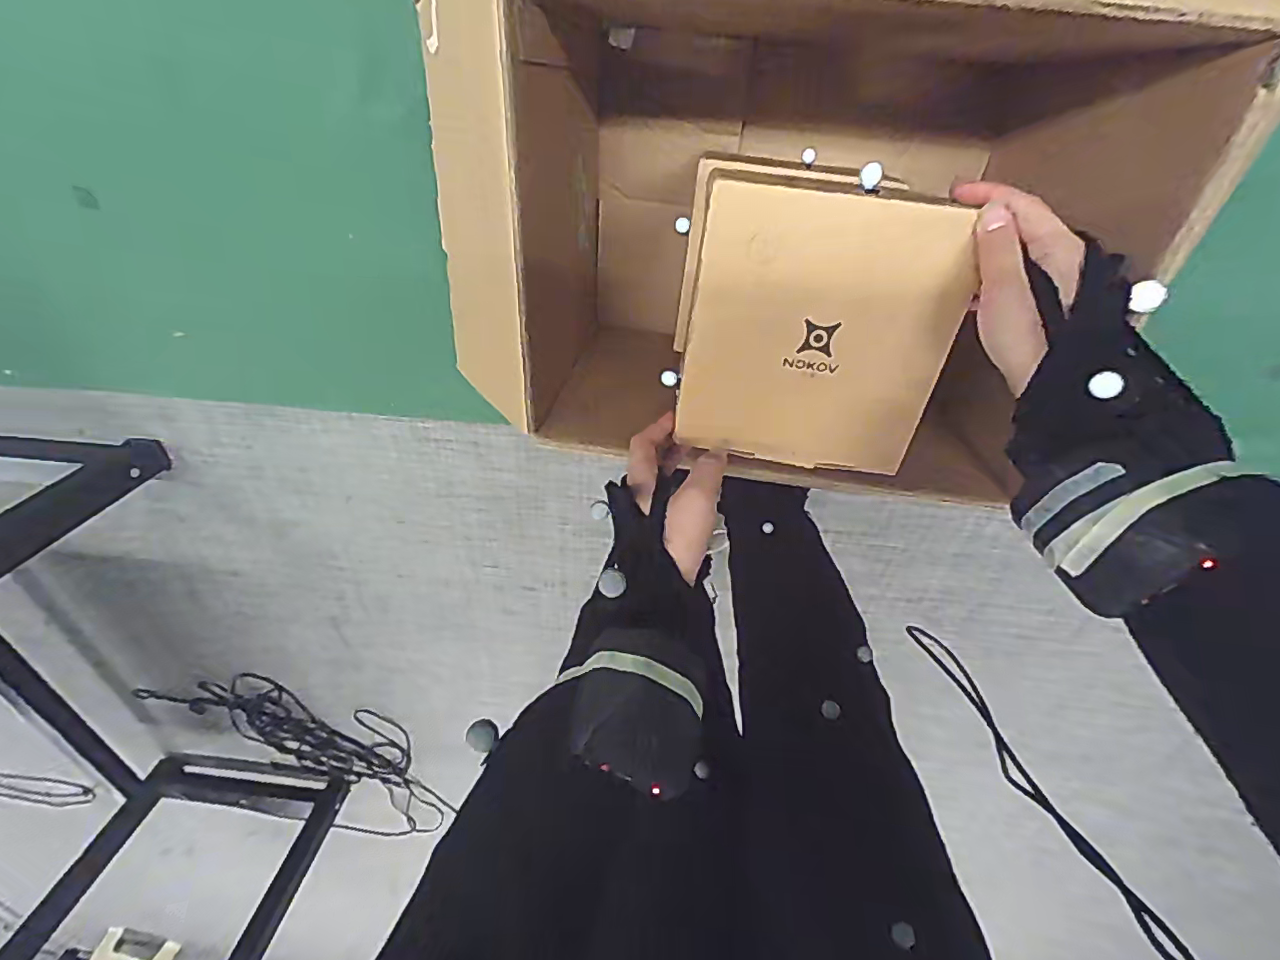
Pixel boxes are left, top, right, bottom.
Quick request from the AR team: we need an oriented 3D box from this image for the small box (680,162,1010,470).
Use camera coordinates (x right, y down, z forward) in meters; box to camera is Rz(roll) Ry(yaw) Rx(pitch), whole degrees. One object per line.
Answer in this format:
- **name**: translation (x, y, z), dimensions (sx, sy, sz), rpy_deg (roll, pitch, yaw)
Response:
- **small box**: translation (0.125, -0.133, 0.413), dimensions (0.168, 0.176, 0.179), rpy_deg (8, 123, 2)
